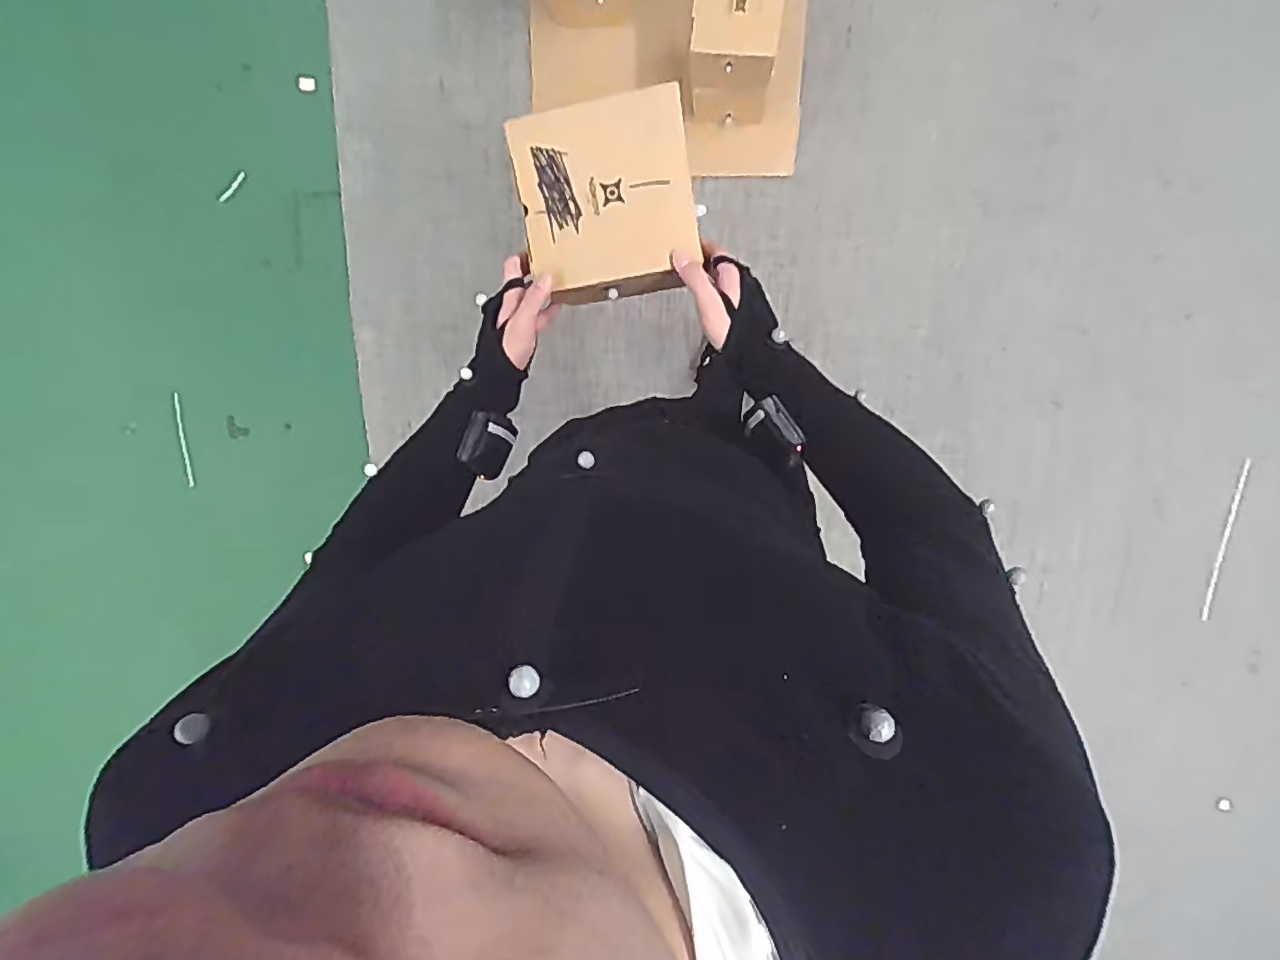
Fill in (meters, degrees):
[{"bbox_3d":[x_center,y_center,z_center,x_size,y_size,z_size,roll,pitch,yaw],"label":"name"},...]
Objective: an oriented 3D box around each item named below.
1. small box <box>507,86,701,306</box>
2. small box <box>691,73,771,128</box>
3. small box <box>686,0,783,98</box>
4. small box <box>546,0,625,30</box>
[{"bbox_3d":[-0.028,-0.300,0.613,0.179,0.176,0.168,-8,102,6],"label":"small box"},{"bbox_3d":[0.216,-0.965,1.288,0.179,0.176,0.168,6,104,5],"label":"small box"},{"bbox_3d":[0.197,-0.929,1.129,0.179,0.176,0.168,8,105,5],"label":"small box"},{"bbox_3d":[-0.126,-1.197,1.266,0.179,0.176,0.168,4,104,5],"label":"small box"}]
